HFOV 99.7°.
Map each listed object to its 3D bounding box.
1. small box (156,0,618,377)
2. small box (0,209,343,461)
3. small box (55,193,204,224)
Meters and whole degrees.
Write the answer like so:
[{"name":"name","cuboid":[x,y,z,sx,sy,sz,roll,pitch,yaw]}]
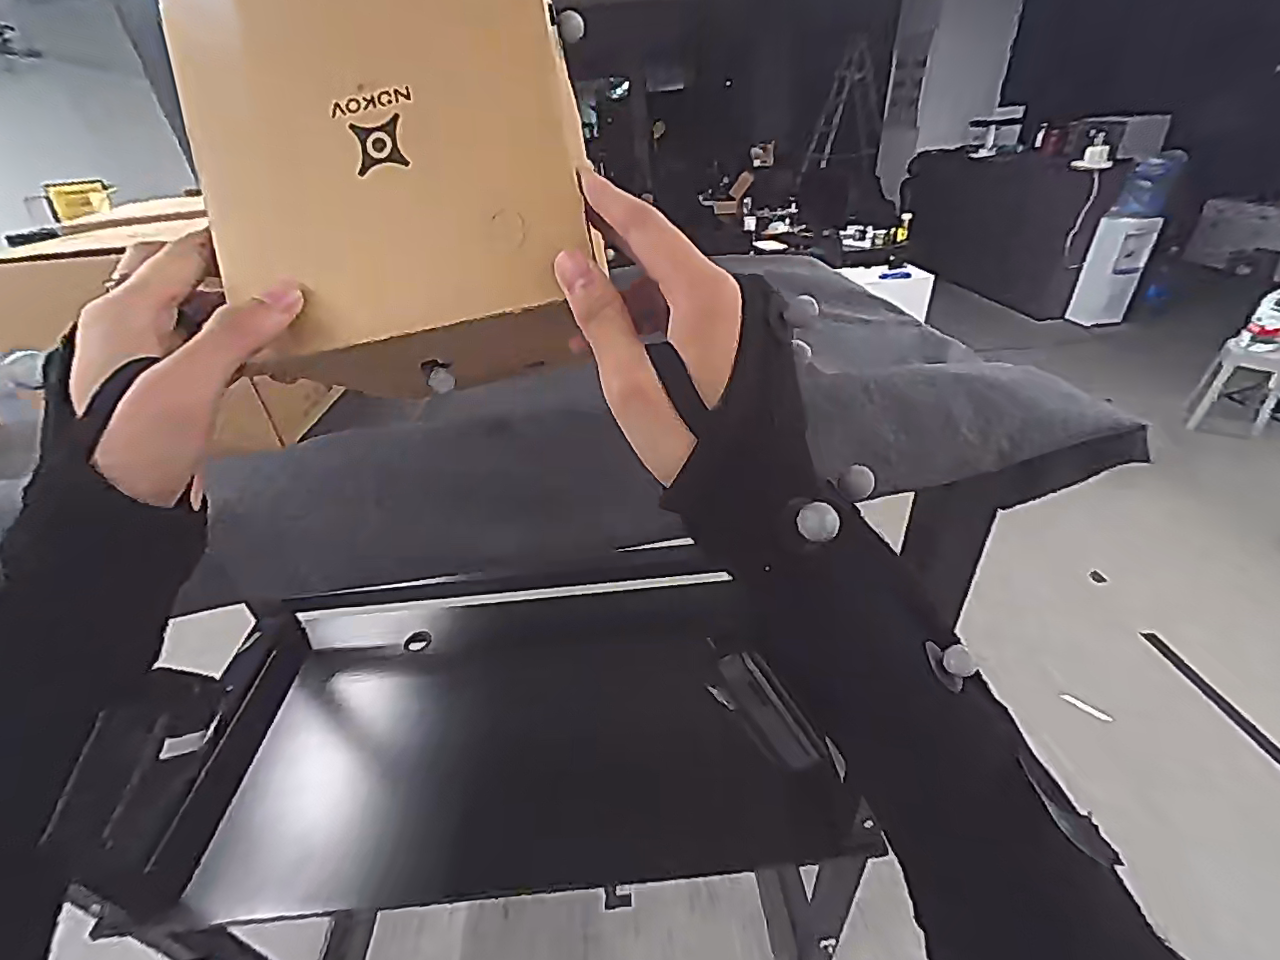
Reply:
[{"name":"small box","cuboid":[-0.112,-0.163,0.311,0.168,0.179,0.176,-12,2,2]},{"name":"small box","cuboid":[-0.395,-0.131,0.471,0.179,0.176,0.168,-6,33,-2]},{"name":"small box","cuboid":[-0.571,-0.277,0.713,0.168,0.176,0.179,-11,34,-6]}]
